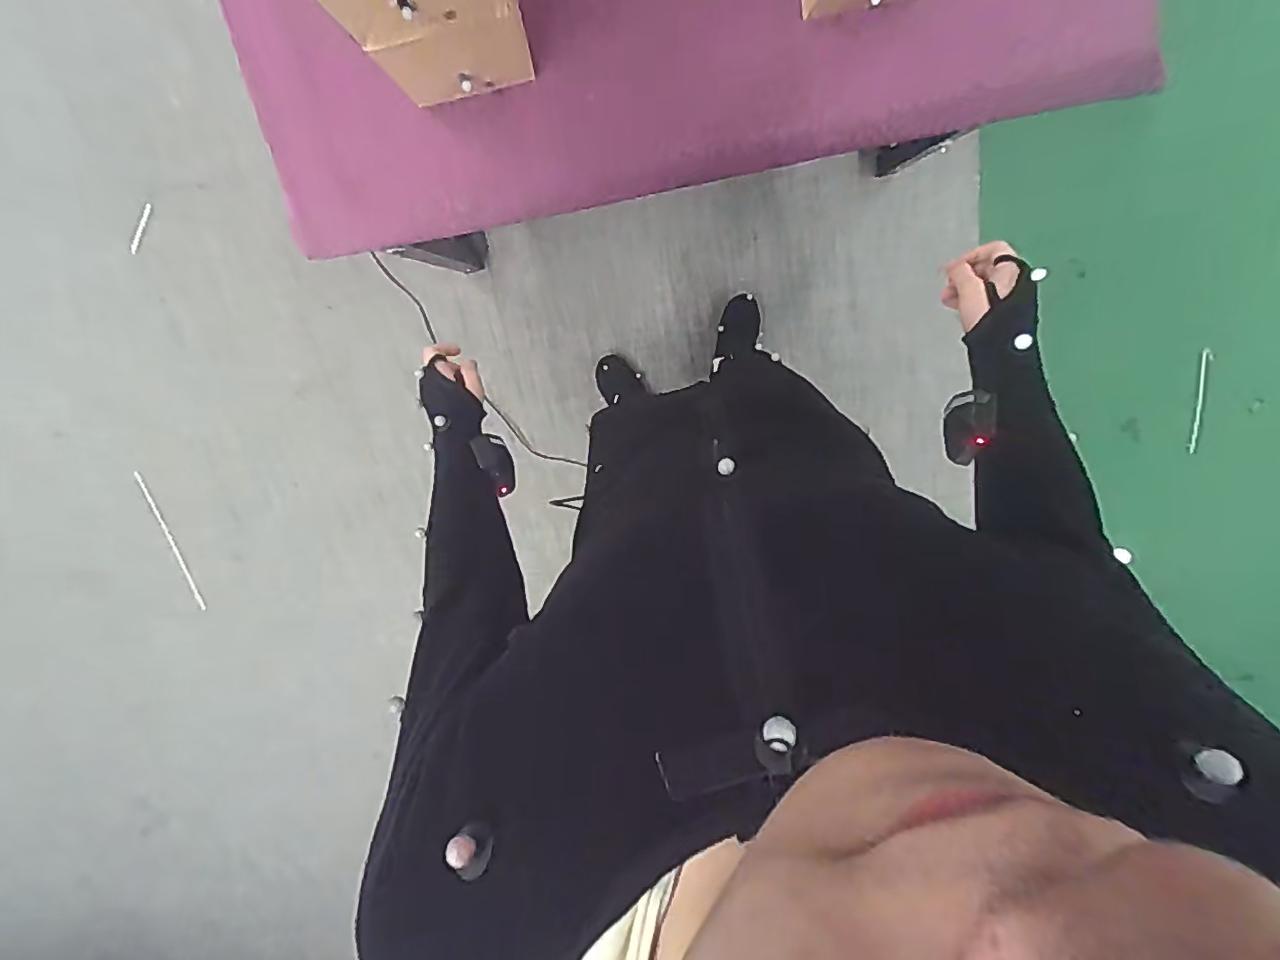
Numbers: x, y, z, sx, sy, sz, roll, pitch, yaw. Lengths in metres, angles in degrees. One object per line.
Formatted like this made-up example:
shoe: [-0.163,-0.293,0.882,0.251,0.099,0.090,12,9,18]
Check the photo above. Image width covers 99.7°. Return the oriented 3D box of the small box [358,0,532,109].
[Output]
small box: [-0.238,-0.582,0.639,0.168,0.176,0.179,-11,106,3]

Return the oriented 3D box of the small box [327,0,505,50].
small box: [-0.236,-0.538,0.482,0.168,0.176,0.179,-13,106,2]
